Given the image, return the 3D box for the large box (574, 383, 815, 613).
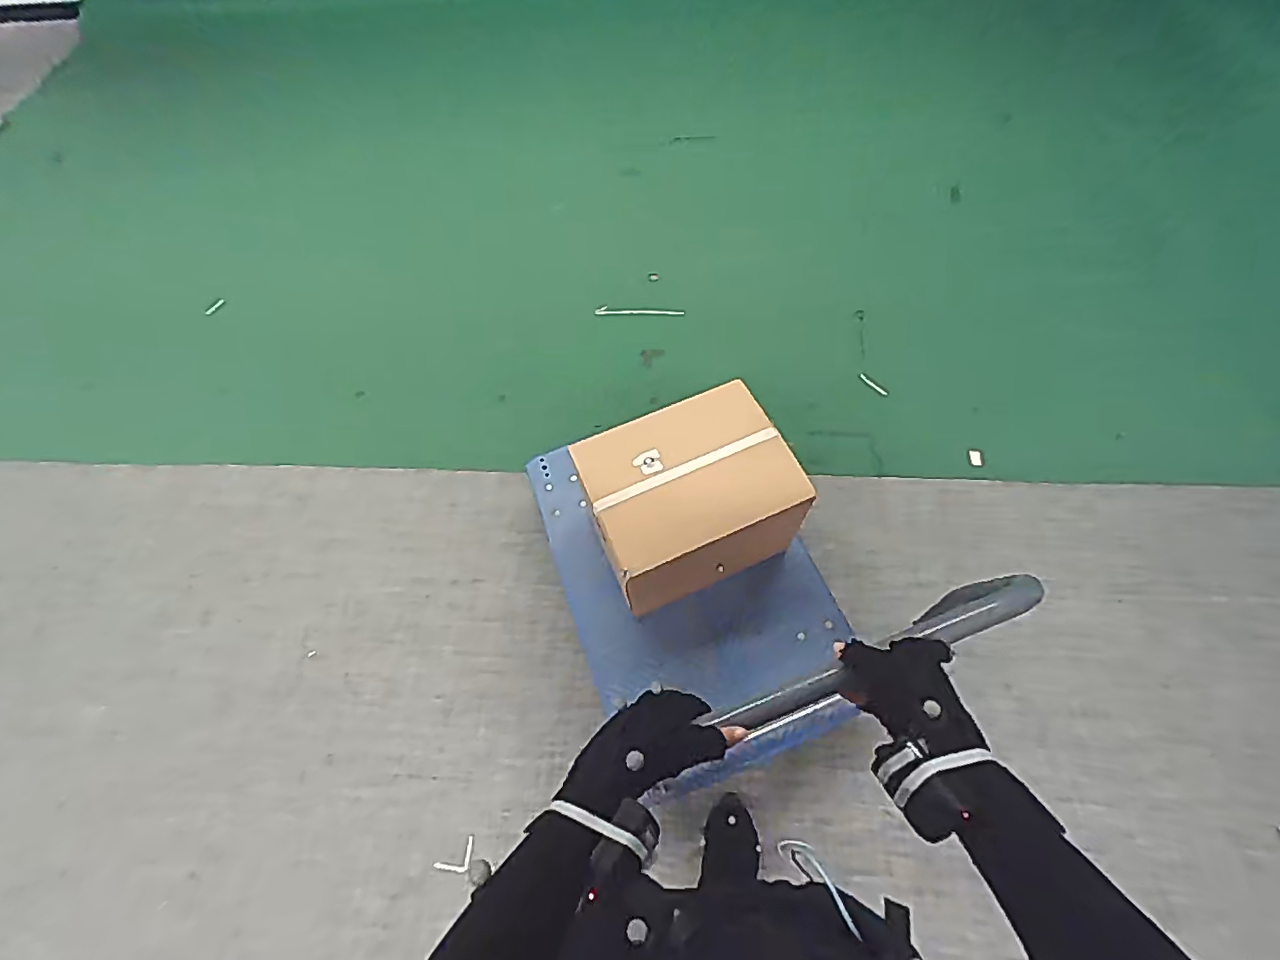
[{"bbox_3d":[0.111,0.051,1.219,0.408,0.320,0.320,-23,63,-8],"label":"large box"}]
